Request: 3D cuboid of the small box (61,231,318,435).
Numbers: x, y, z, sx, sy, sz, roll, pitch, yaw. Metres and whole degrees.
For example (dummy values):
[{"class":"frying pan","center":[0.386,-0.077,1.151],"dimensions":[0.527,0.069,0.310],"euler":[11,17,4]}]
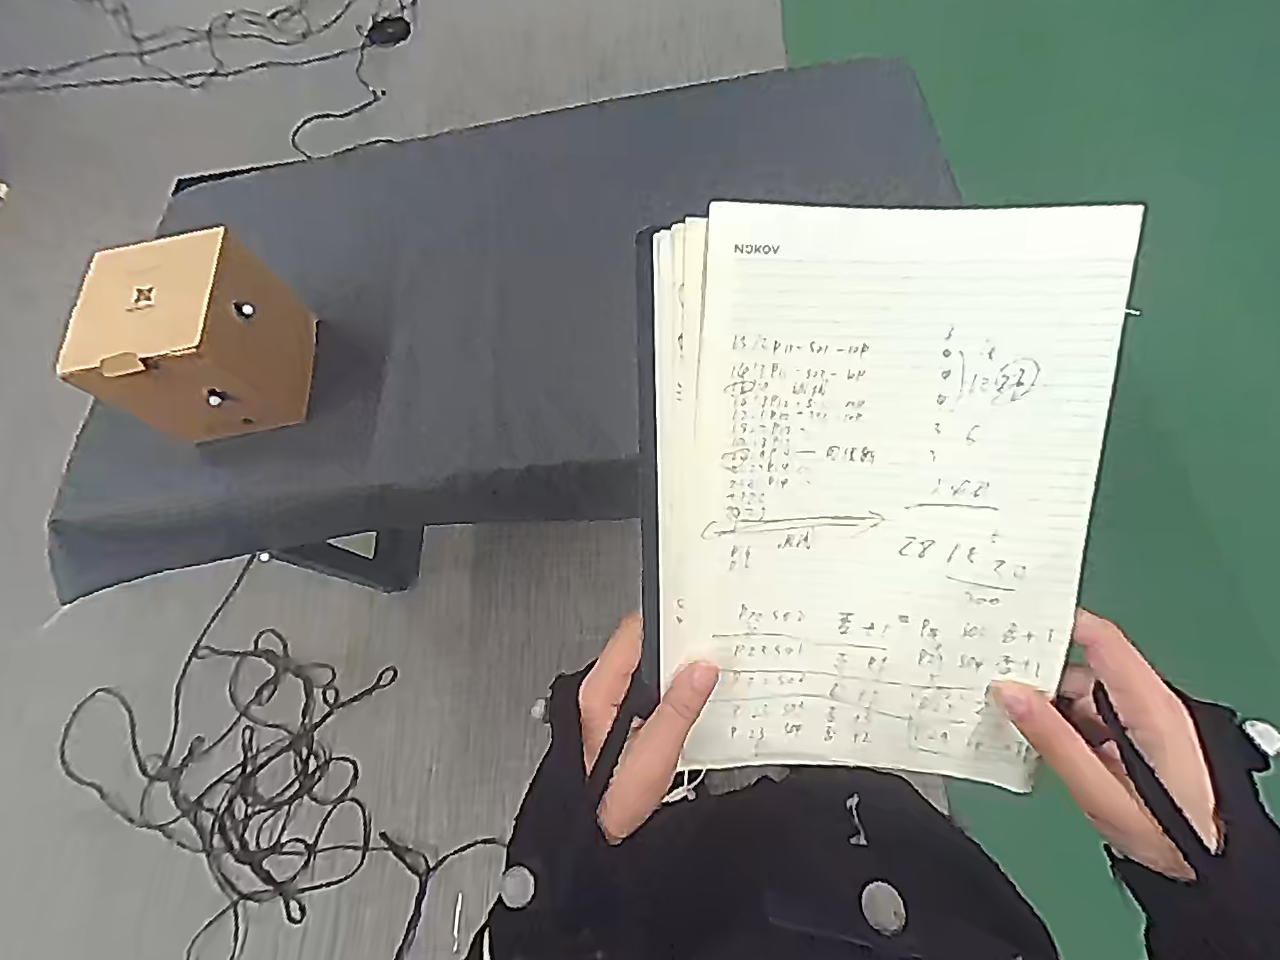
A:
[{"class":"small box","center":[-0.536,-0.169,0.675],"dimensions":[0.168,0.176,0.179],"euler":[-9,66,3]}]
